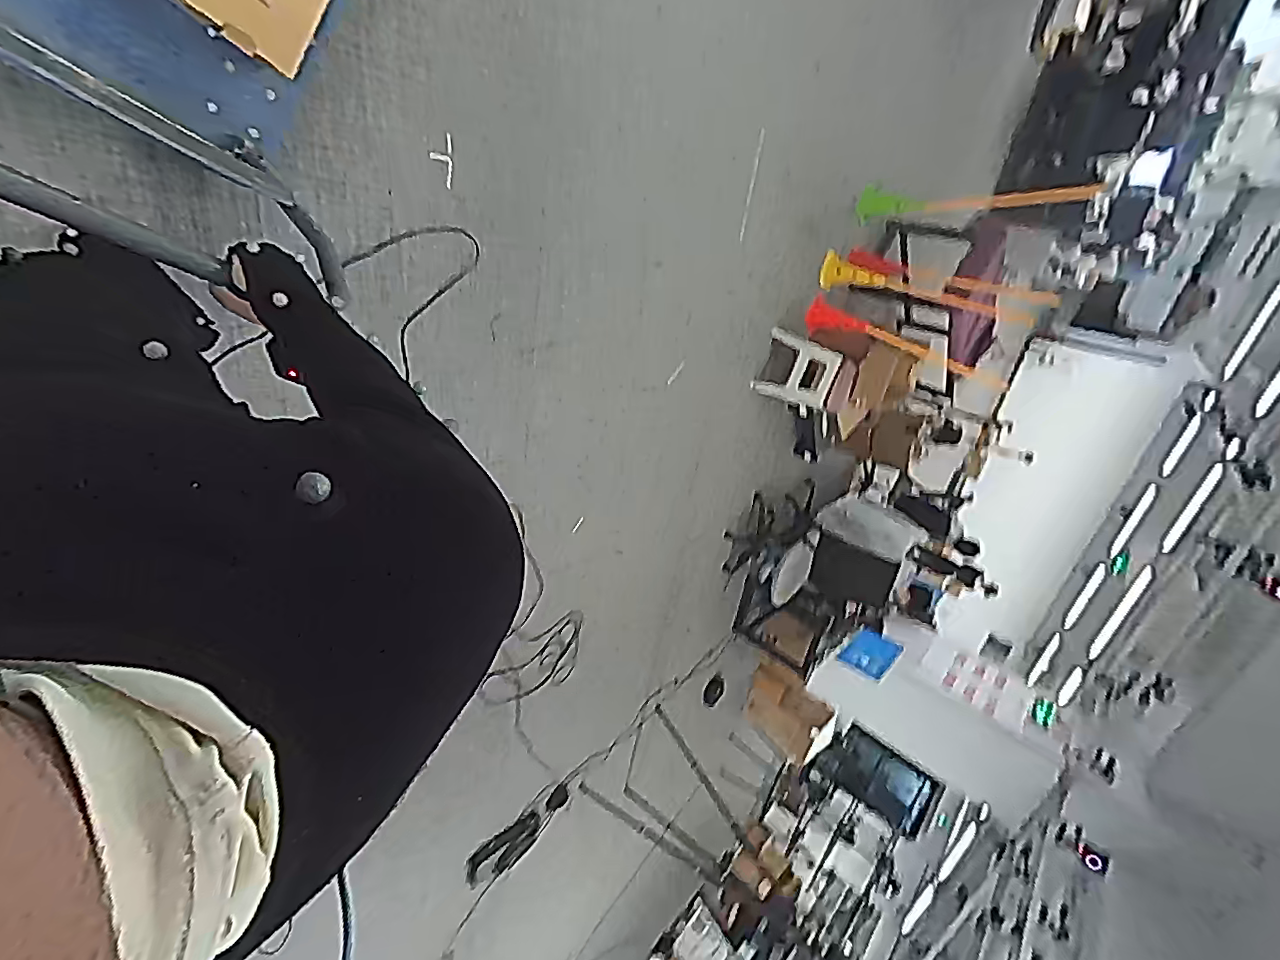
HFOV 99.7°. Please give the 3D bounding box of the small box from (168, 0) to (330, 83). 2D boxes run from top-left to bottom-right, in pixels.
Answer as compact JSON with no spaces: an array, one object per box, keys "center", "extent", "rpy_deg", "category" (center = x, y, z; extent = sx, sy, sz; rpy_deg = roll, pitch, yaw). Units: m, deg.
[{"center":[-0.656,-0.818,0.900],"extent":[0.179,0.176,0.168],"rpy_deg":[-56,148,10],"category":"small box"}]
